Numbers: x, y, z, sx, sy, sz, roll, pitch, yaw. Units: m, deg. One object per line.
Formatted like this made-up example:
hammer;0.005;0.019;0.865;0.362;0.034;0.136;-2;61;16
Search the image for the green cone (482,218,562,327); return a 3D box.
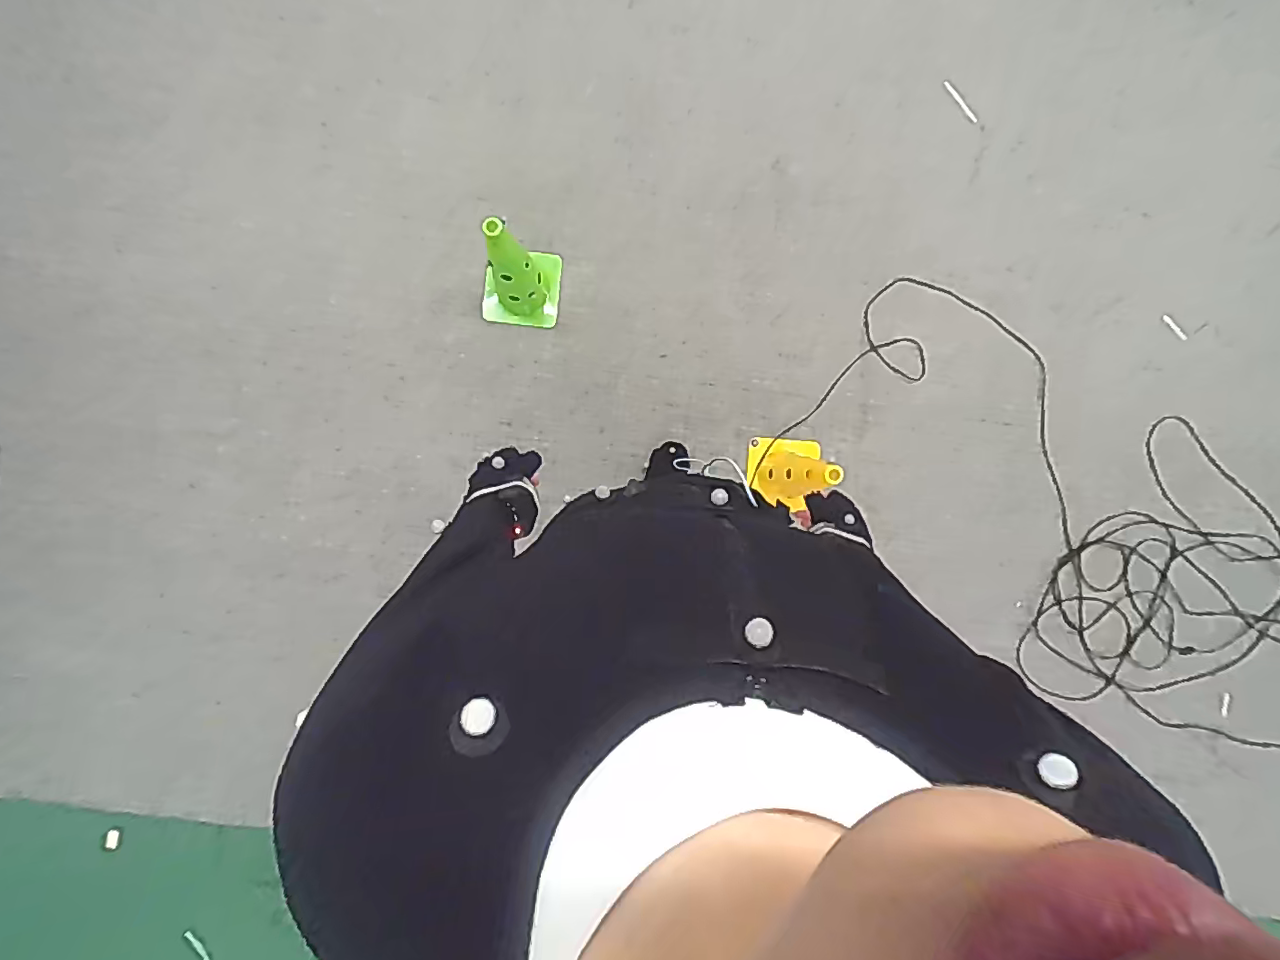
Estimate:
green cone;-0.309;-0.517;1.288;0.202;0.368;0.200;5;90;-3
